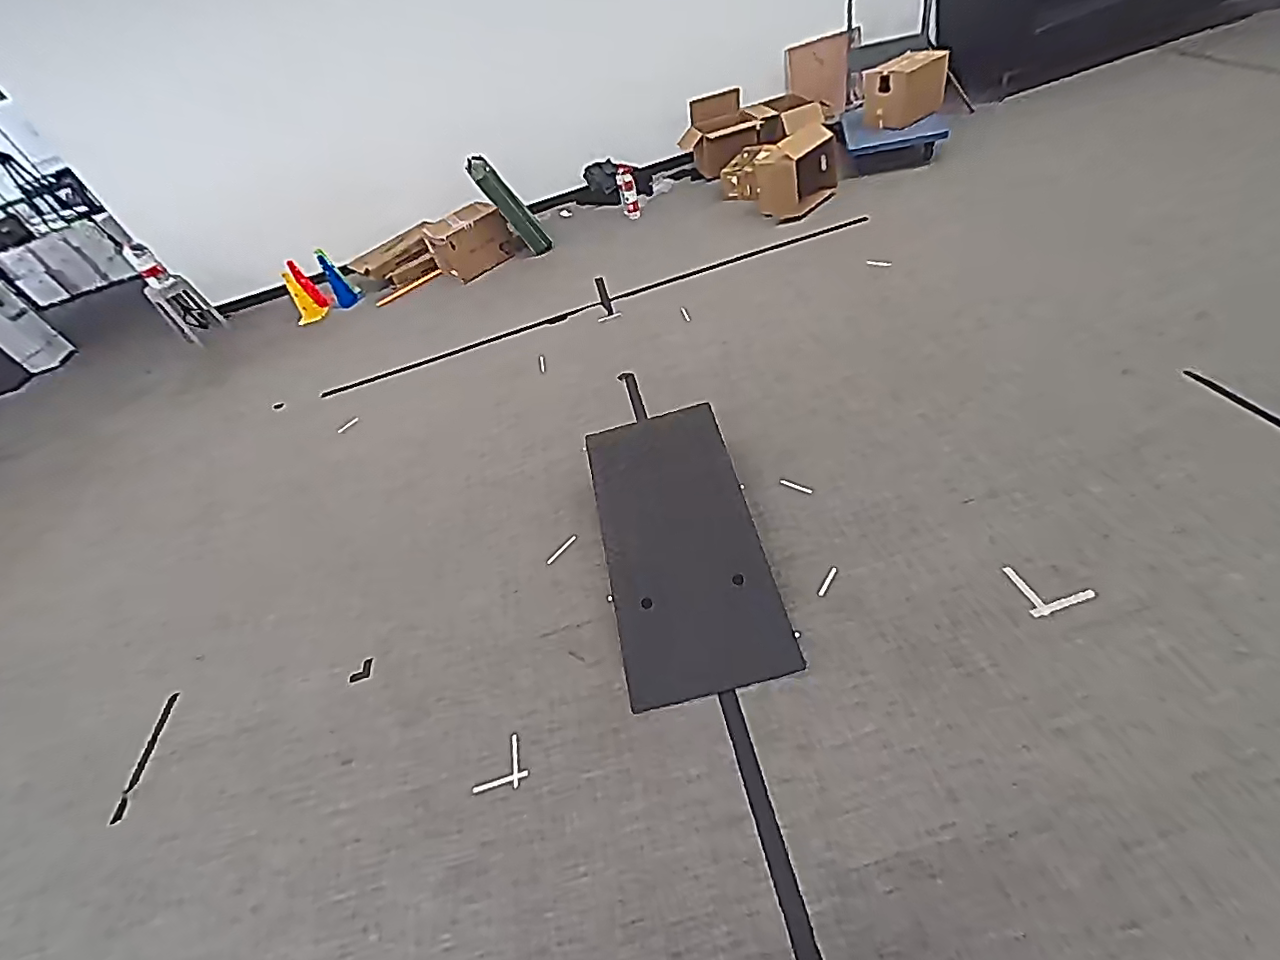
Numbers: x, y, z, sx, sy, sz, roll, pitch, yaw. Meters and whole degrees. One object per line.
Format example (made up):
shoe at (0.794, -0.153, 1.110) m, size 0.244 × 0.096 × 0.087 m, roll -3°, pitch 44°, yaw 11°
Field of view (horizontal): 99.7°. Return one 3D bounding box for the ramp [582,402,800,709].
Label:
ramp at (0.113, 0.172, 1.759) m, size 0.509 × 0.206 × 0.991 m, roll -16°, pitch 45°, yaw 1°
